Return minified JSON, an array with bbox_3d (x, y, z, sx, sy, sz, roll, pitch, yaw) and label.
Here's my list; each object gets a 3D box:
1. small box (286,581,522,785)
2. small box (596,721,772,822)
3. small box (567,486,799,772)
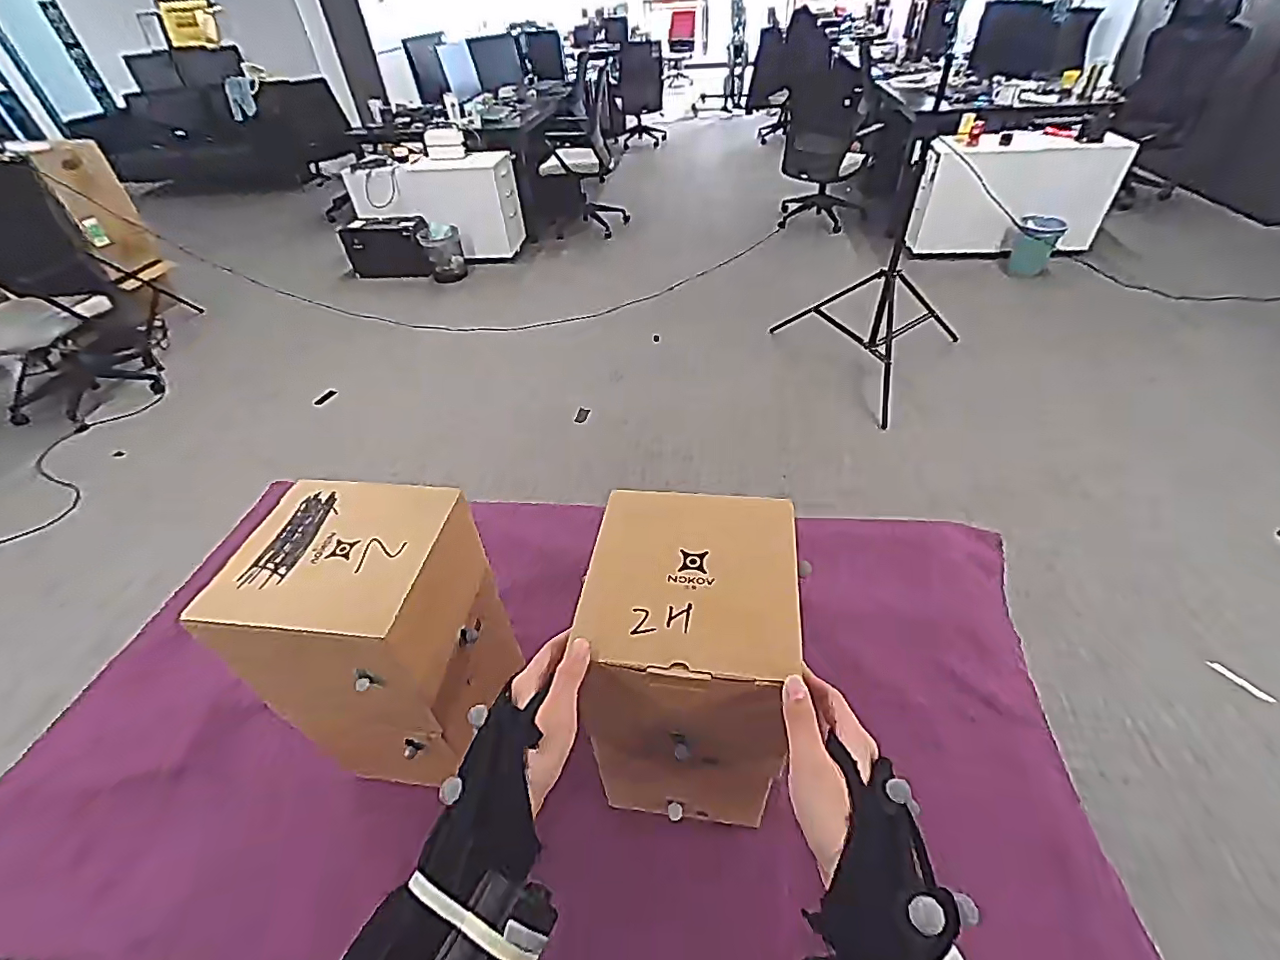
[{"bbox_3d":[-0.257,0.240,0.641,0.179,0.176,0.168,3,43,6],"label":"small box"},{"bbox_3d":[0.055,0.249,0.604,0.168,0.176,0.179,3,43,9],"label":"small box"},{"bbox_3d":[0.047,0.128,0.484,0.168,0.176,0.179,3,42,11],"label":"small box"}]
